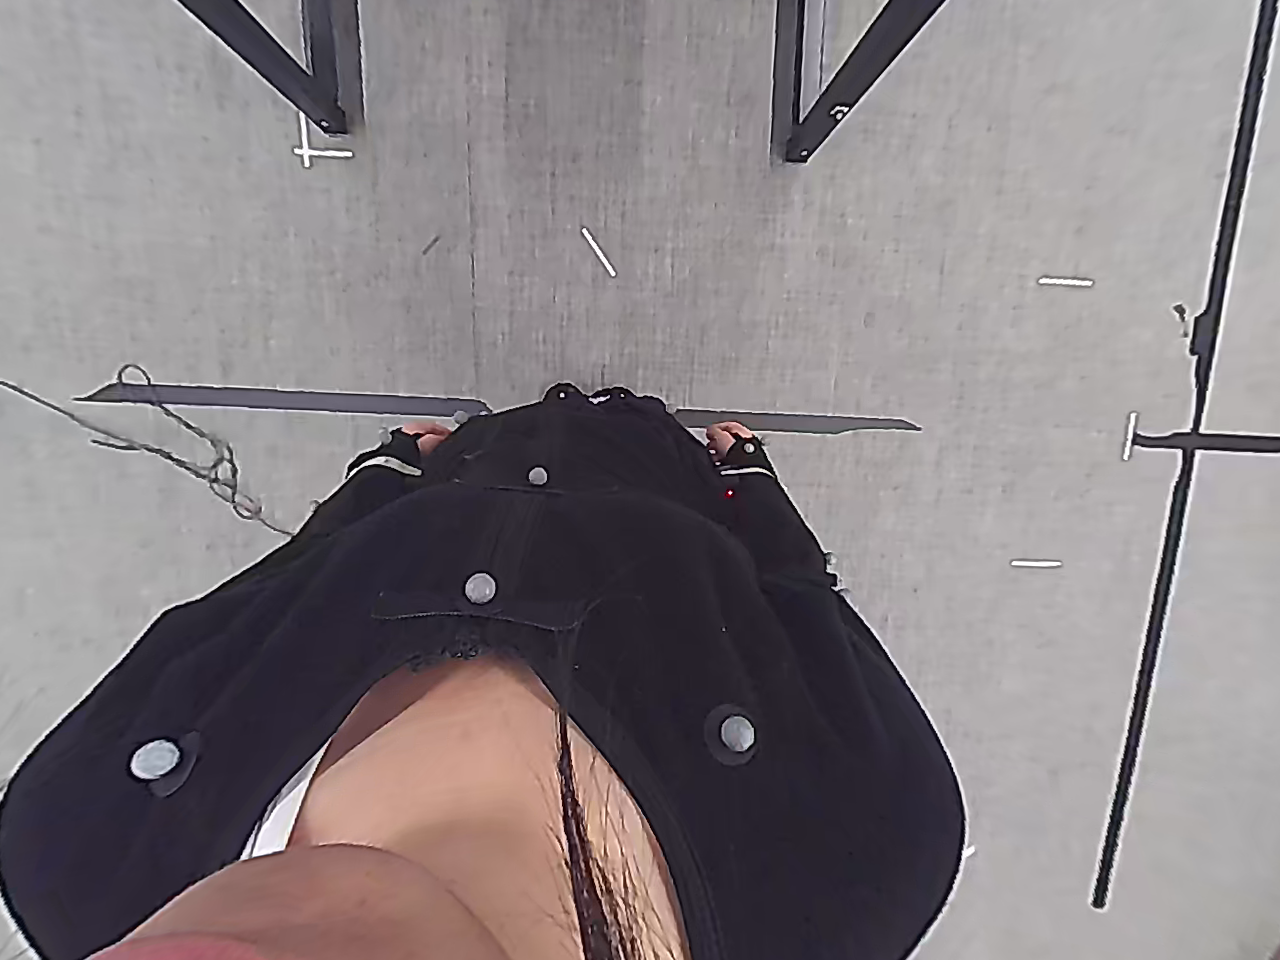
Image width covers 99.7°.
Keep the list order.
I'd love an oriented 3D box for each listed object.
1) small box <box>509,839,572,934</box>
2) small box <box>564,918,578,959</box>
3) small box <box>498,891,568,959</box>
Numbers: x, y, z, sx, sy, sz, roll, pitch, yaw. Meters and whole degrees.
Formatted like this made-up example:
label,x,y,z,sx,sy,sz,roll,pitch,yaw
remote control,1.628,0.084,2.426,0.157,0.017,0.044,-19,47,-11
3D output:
label,x,y,z,sx,sy,sz,roll,pitch,yaw
small box,-0.289,1.189,1.590,0.168,0.176,0.179,-1,101,-3
small box,-0.279,1.467,1.638,0.168,0.176,0.179,-6,100,-3
small box,-0.282,1.230,1.430,0.168,0.176,0.179,3,100,-4
